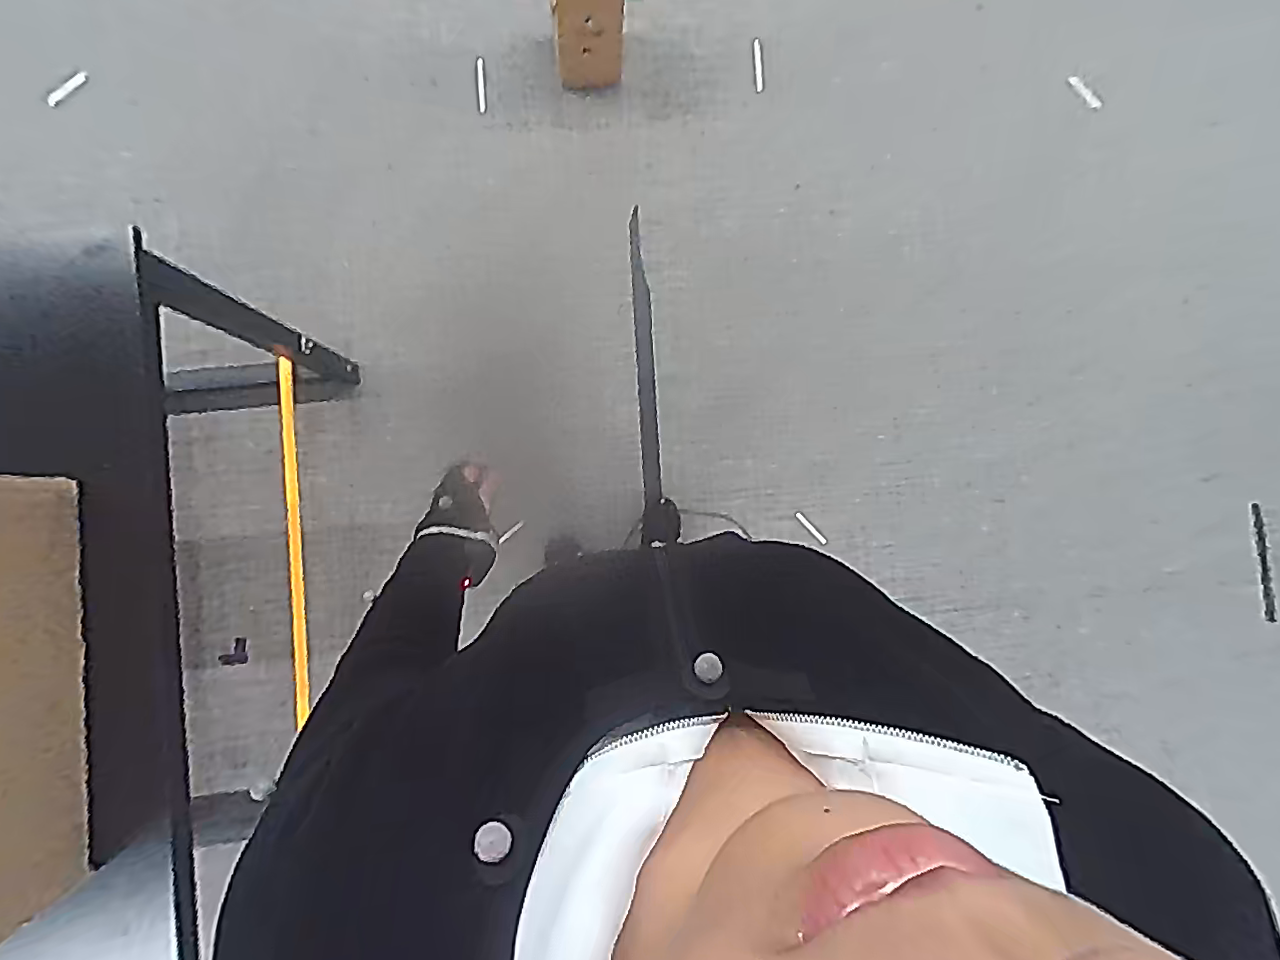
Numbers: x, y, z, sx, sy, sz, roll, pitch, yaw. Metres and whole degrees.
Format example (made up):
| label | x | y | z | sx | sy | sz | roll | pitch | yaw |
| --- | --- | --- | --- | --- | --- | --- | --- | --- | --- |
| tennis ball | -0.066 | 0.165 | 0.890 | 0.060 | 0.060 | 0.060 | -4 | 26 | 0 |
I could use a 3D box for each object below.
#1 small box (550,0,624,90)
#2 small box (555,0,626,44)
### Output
| label | x | y | z | sx | sy | sz | roll | pitch | yaw |
| --- | --- | --- | --- | --- | --- | --- | --- | --- | --- |
| small box | -0.141 | -1.193 | 1.460 | 0.179 | 0.176 | 0.168 | -8 | 88 | -5 |
| small box | -0.124 | -1.201 | 1.296 | 0.168 | 0.176 | 0.179 | -4 | 88 | -4 |
